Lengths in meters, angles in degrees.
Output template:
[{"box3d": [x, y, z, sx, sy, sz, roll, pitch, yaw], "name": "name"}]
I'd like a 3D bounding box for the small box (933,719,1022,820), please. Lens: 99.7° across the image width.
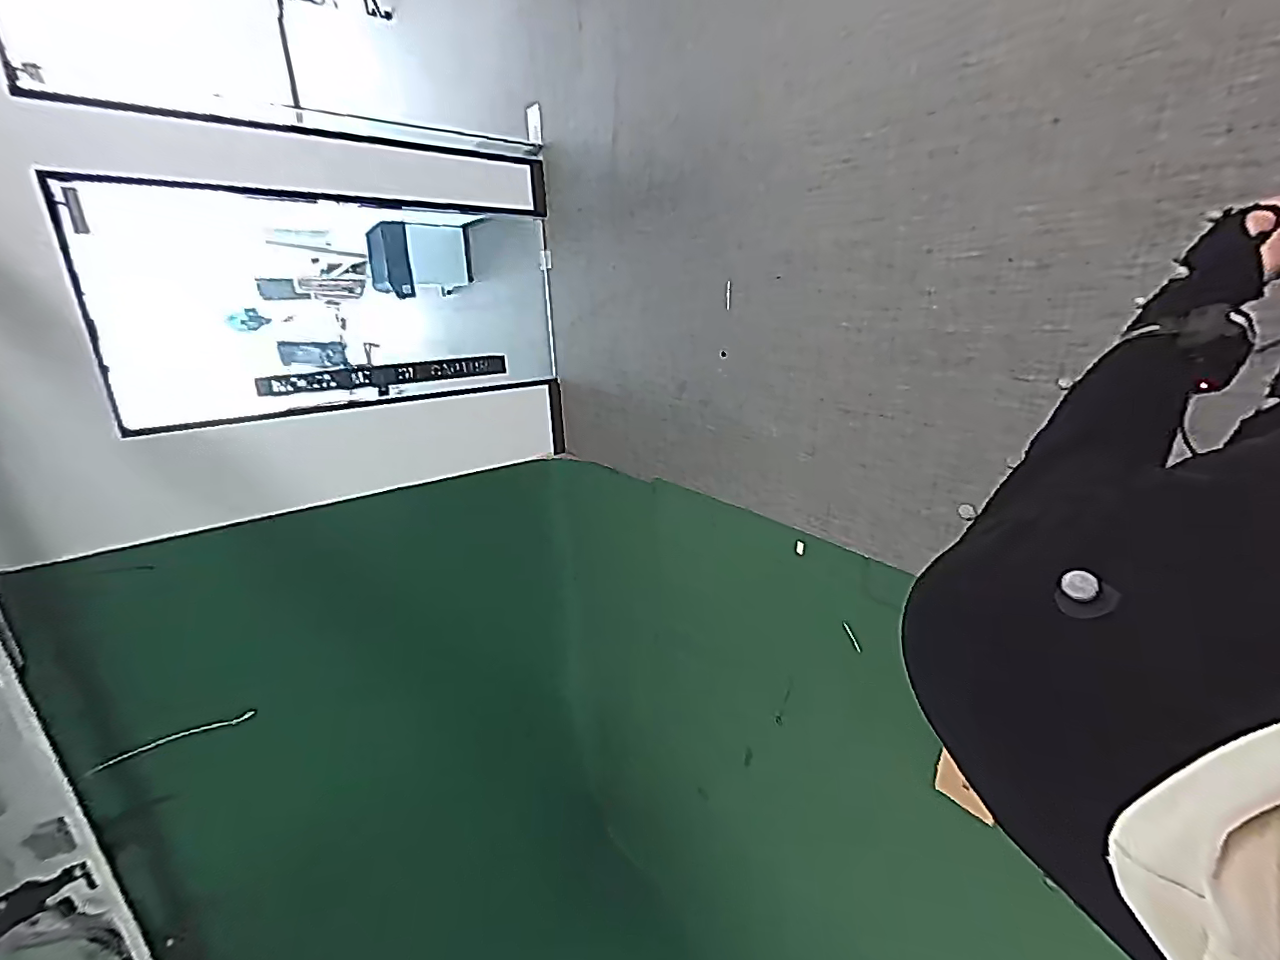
[{"box3d": [1.029, 0.875, 1.648, 0.168, 0.176, 0.179, 24, 121, 48], "name": "small box"}]
